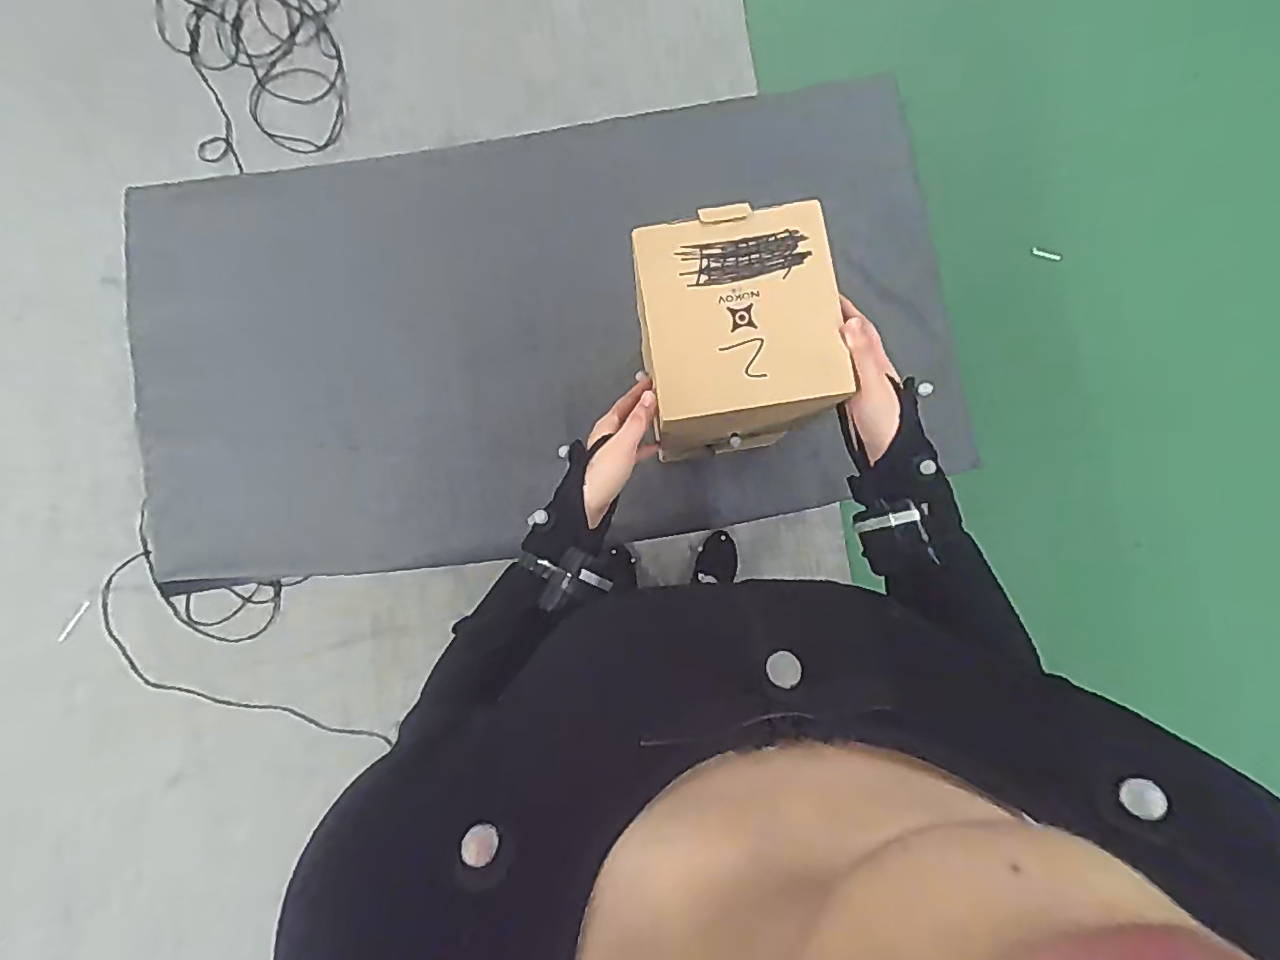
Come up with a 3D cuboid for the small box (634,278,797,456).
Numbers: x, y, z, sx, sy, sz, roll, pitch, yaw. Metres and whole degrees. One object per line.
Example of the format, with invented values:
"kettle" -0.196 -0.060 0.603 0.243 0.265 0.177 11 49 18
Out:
"small box" 0.089 -0.129 0.694 0.168 0.176 0.179 -9 85 1
